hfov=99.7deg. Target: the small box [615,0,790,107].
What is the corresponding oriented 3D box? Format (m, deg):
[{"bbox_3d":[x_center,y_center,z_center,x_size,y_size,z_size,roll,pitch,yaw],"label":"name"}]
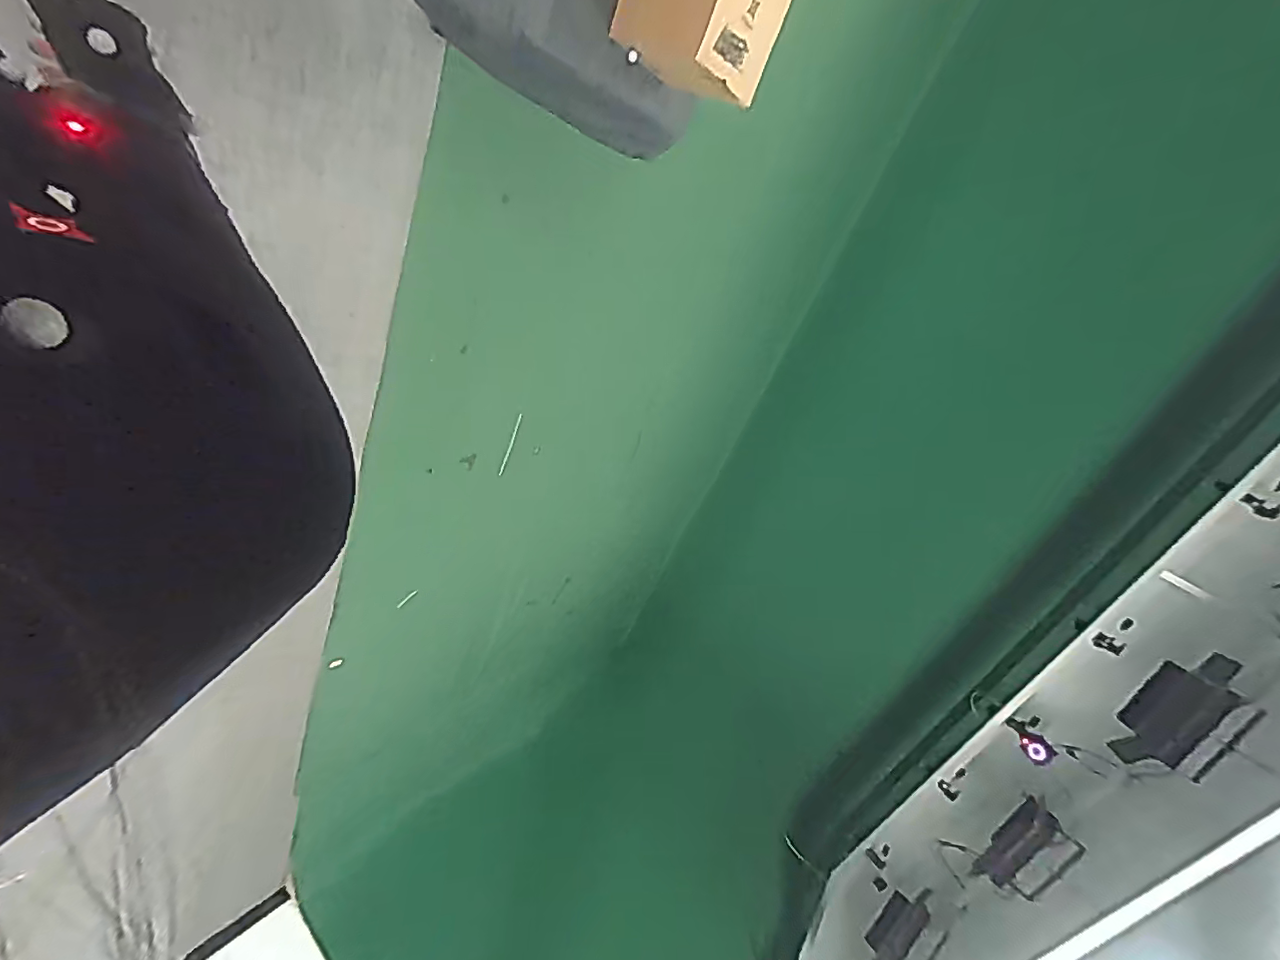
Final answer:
[{"bbox_3d":[0.089,-0.683,0.774,0.168,0.176,0.179,-15,134,-54],"label":"small box"}]
